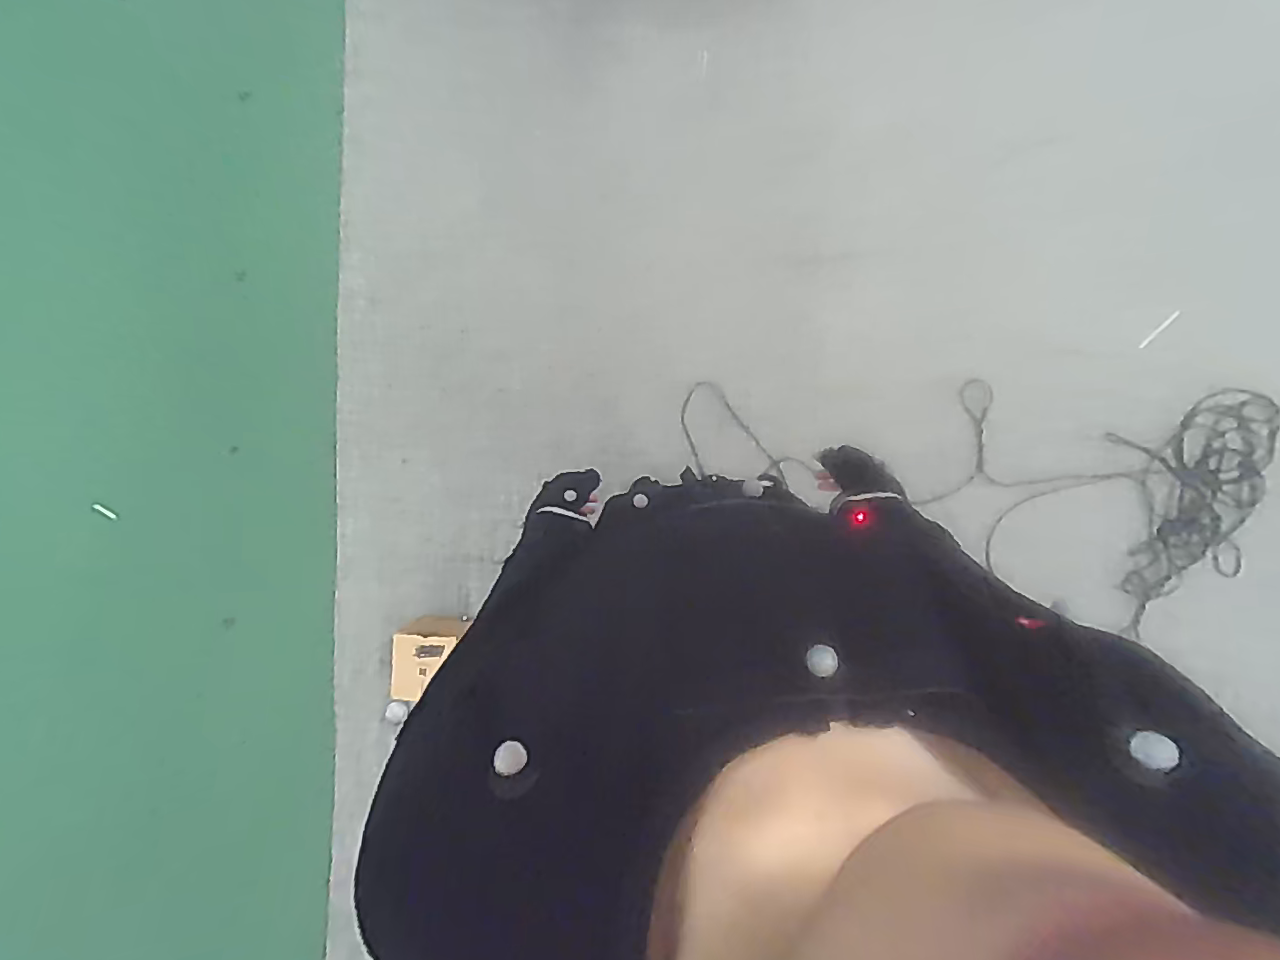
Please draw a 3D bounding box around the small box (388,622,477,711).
[{"bbox_3d":[-0.544,0.486,1.437,0.168,0.176,0.179,4,92,3],"label":"small box"}]
